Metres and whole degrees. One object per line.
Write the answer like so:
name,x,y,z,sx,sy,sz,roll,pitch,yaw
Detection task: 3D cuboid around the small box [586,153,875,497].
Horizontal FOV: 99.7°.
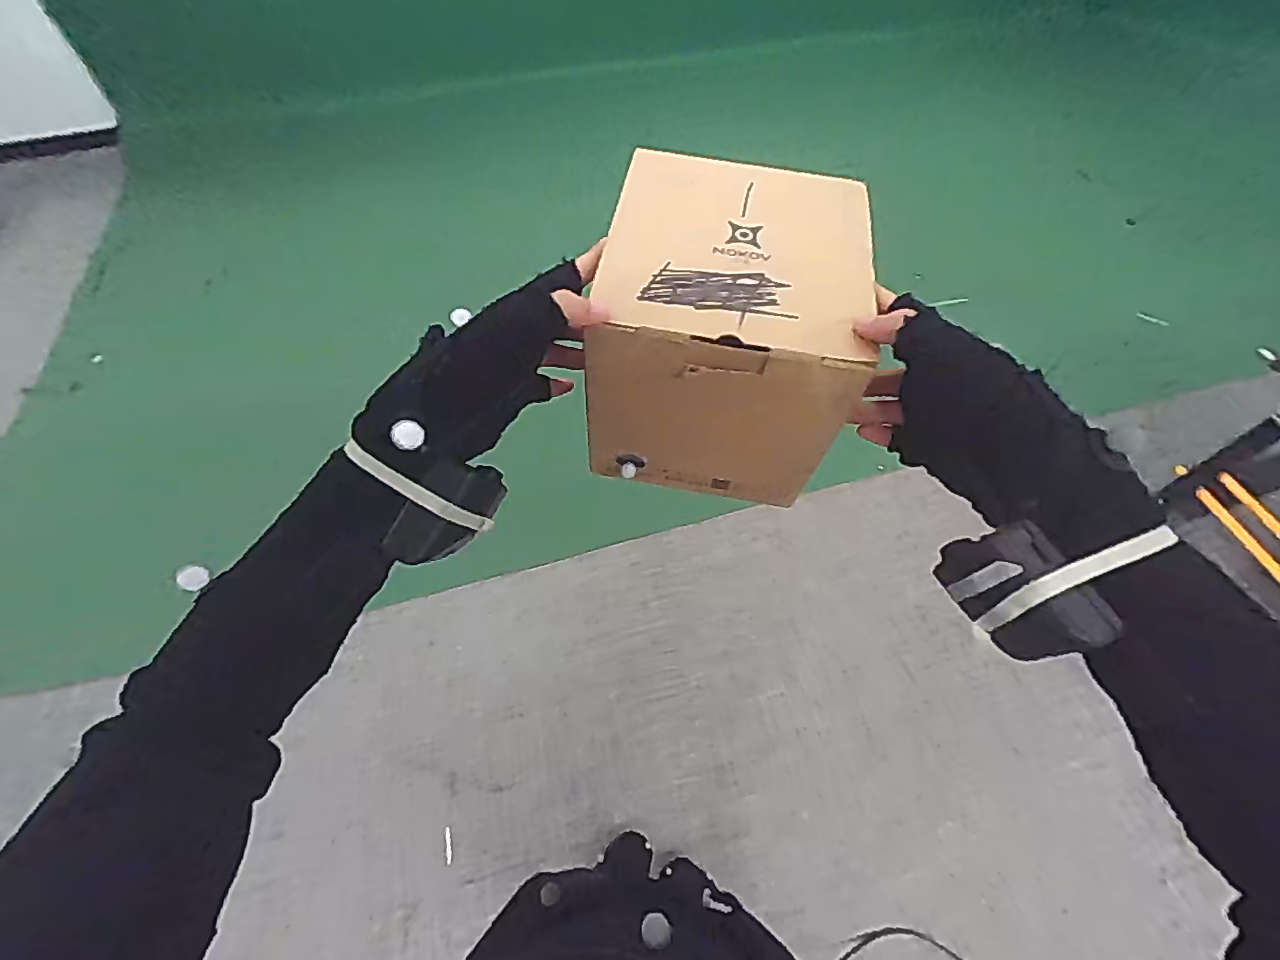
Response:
small box,0.061,-0.107,0.409,0.168,0.176,0.179,10,59,2
